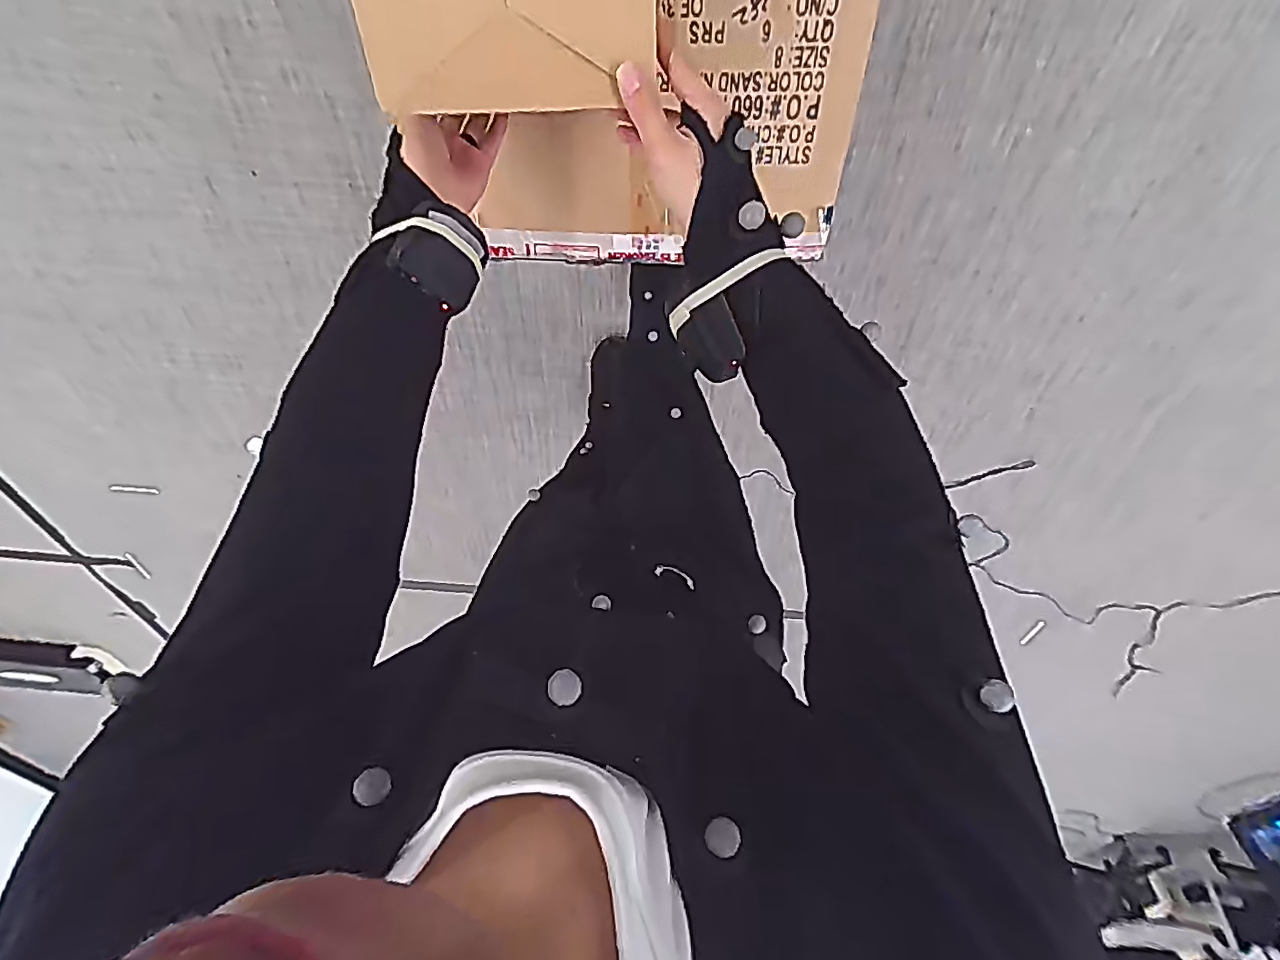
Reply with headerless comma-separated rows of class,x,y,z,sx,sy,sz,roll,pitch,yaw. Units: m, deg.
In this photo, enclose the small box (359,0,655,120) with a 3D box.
small box,-0.080,-0.349,0.362,0.179,0.176,0.168,-2,129,-1
